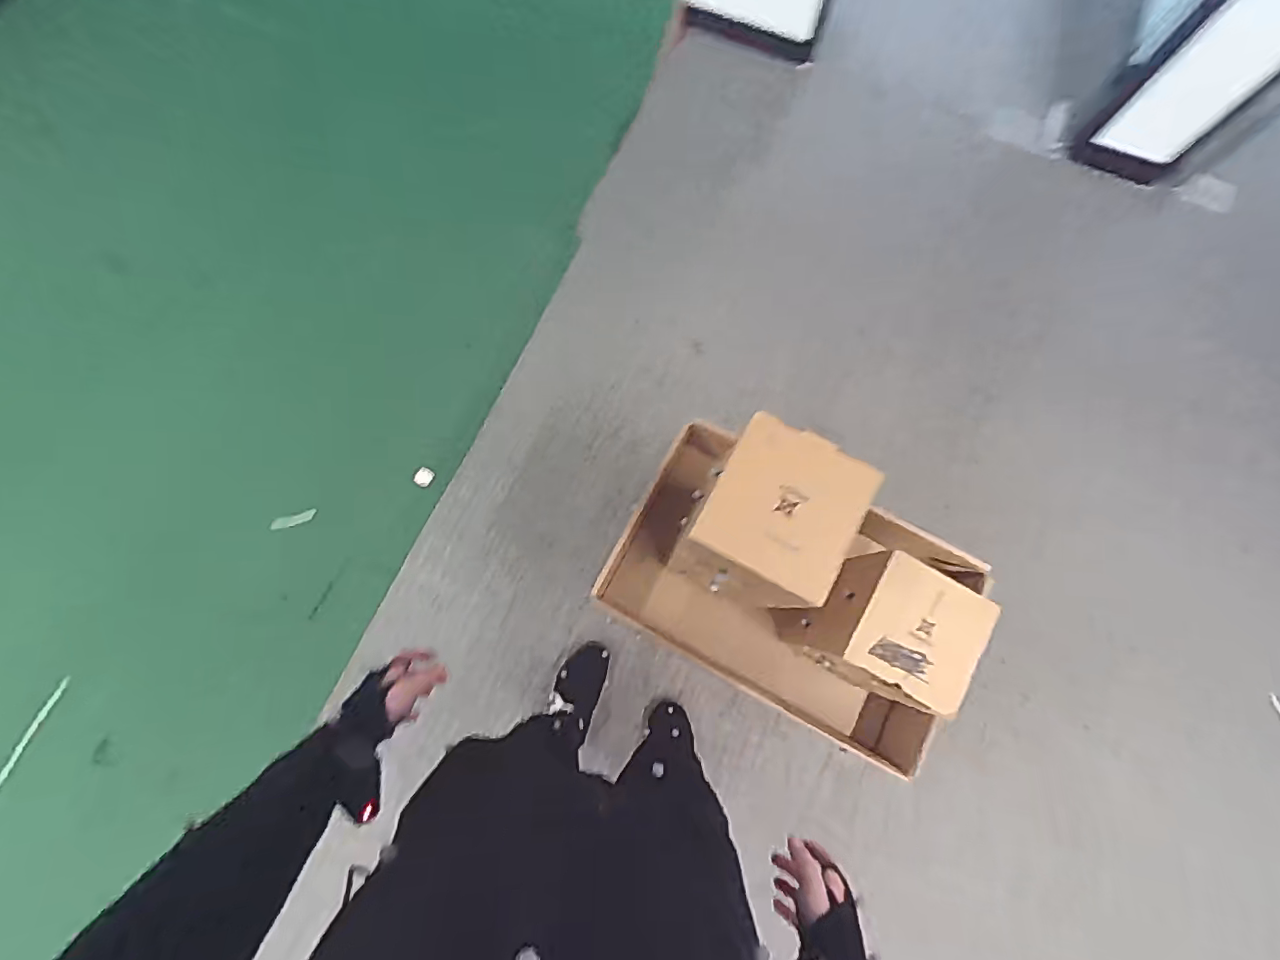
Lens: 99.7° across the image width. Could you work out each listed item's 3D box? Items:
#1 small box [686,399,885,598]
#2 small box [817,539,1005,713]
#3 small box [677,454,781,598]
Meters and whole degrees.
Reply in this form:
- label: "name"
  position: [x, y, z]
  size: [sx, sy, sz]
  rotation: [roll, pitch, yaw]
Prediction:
- label: "small box"
  position: [0.167, 0.033, 0.683]
  size: [0.168, 0.176, 0.179]
  rotation: [29, 79, 7]
- label: "small box"
  position: [0.389, 0.212, 0.811]
  size: [0.168, 0.176, 0.179]
  rotation: [30, 79, 6]
- label: "small box"
  position: [0.165, 0.068, 0.841]
  size: [0.168, 0.176, 0.179]
  rotation: [28, 78, 7]
